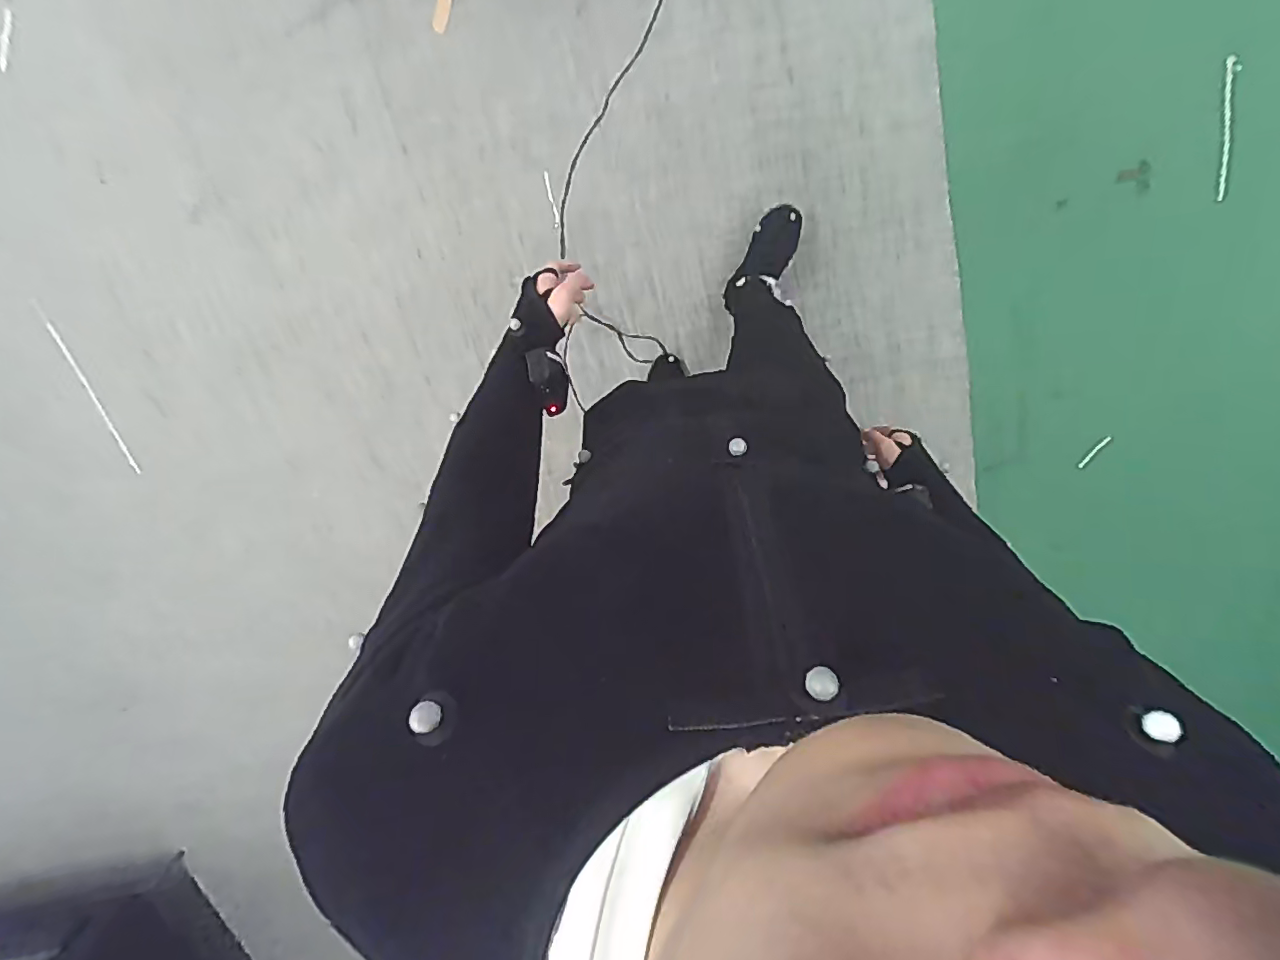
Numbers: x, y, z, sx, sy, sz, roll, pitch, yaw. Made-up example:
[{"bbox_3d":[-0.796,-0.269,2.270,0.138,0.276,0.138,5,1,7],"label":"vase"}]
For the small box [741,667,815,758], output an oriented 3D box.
[{"bbox_3d":[0.400,0.681,1.596,0.179,0.176,0.168,-12,107,5],"label":"small box"}]
